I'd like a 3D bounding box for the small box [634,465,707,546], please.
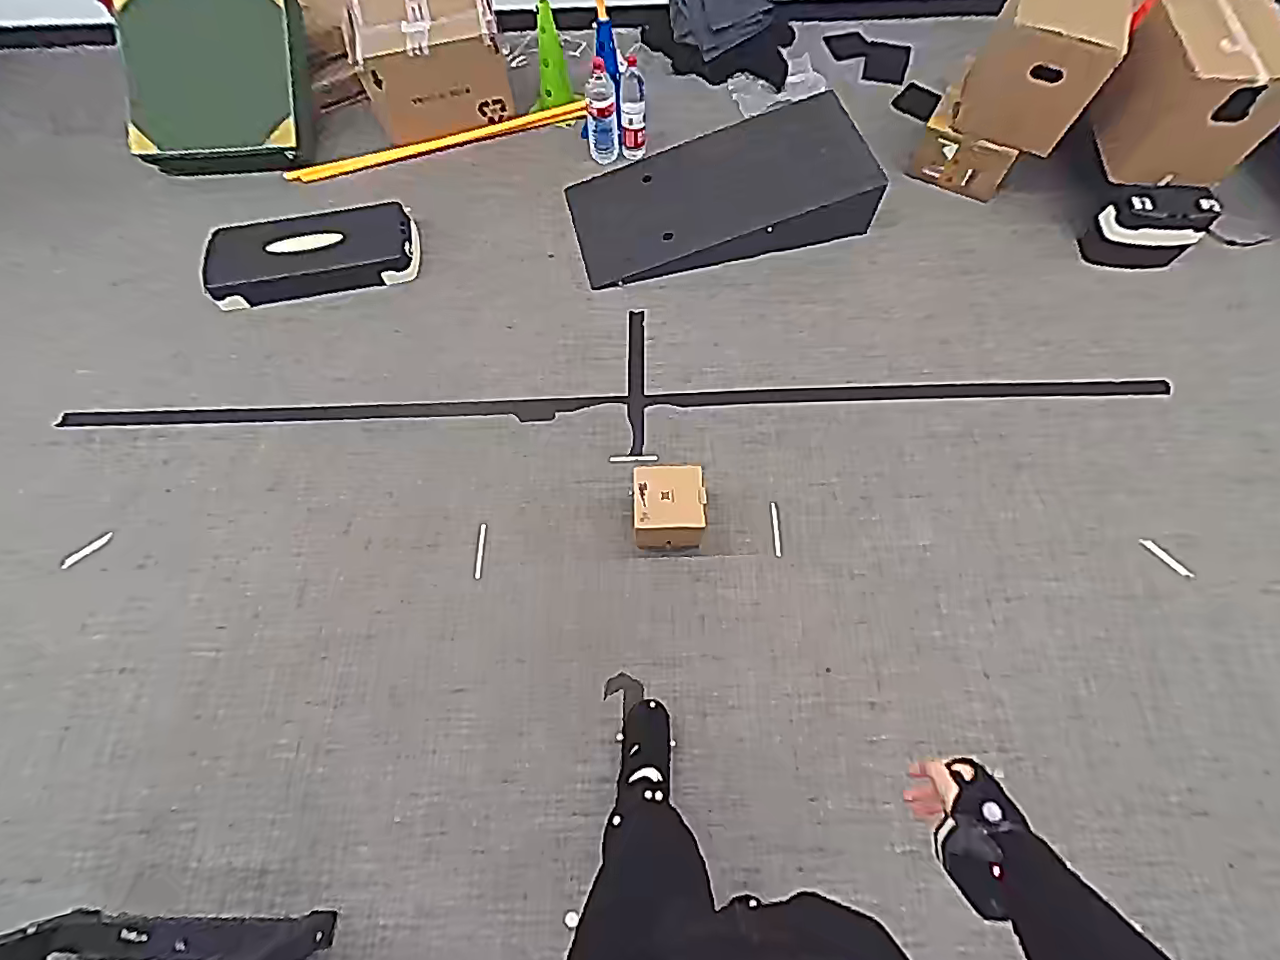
[{"bbox_3d":[0.073,0.070,1.395,0.179,0.176,0.168,0,67,0],"label":"small box"}]
